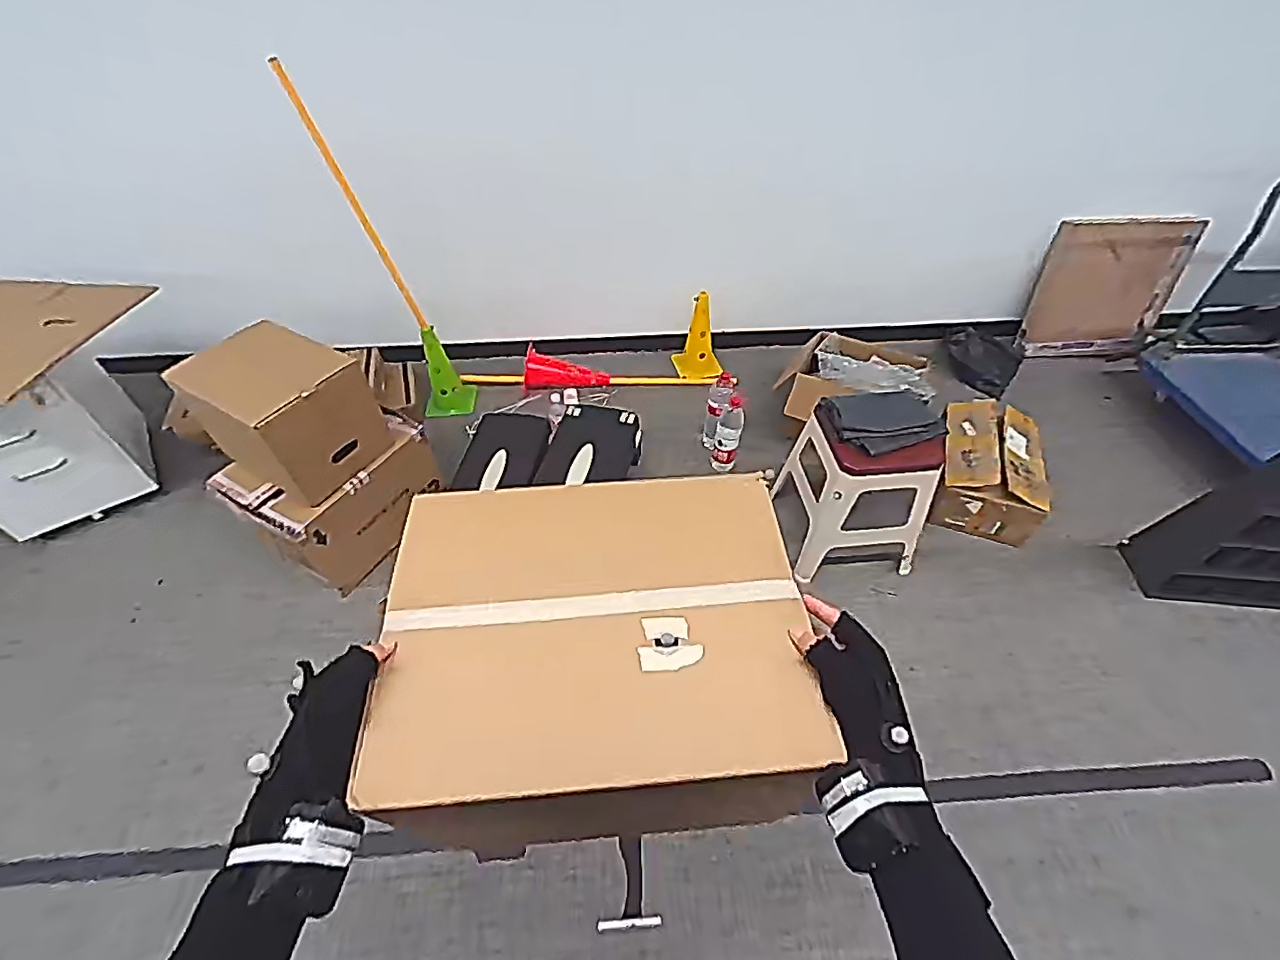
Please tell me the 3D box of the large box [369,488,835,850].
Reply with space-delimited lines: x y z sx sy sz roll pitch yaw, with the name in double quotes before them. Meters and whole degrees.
"large box" -0.042 0.233 0.661 0.408 0.320 0.320 -3 51 -3
